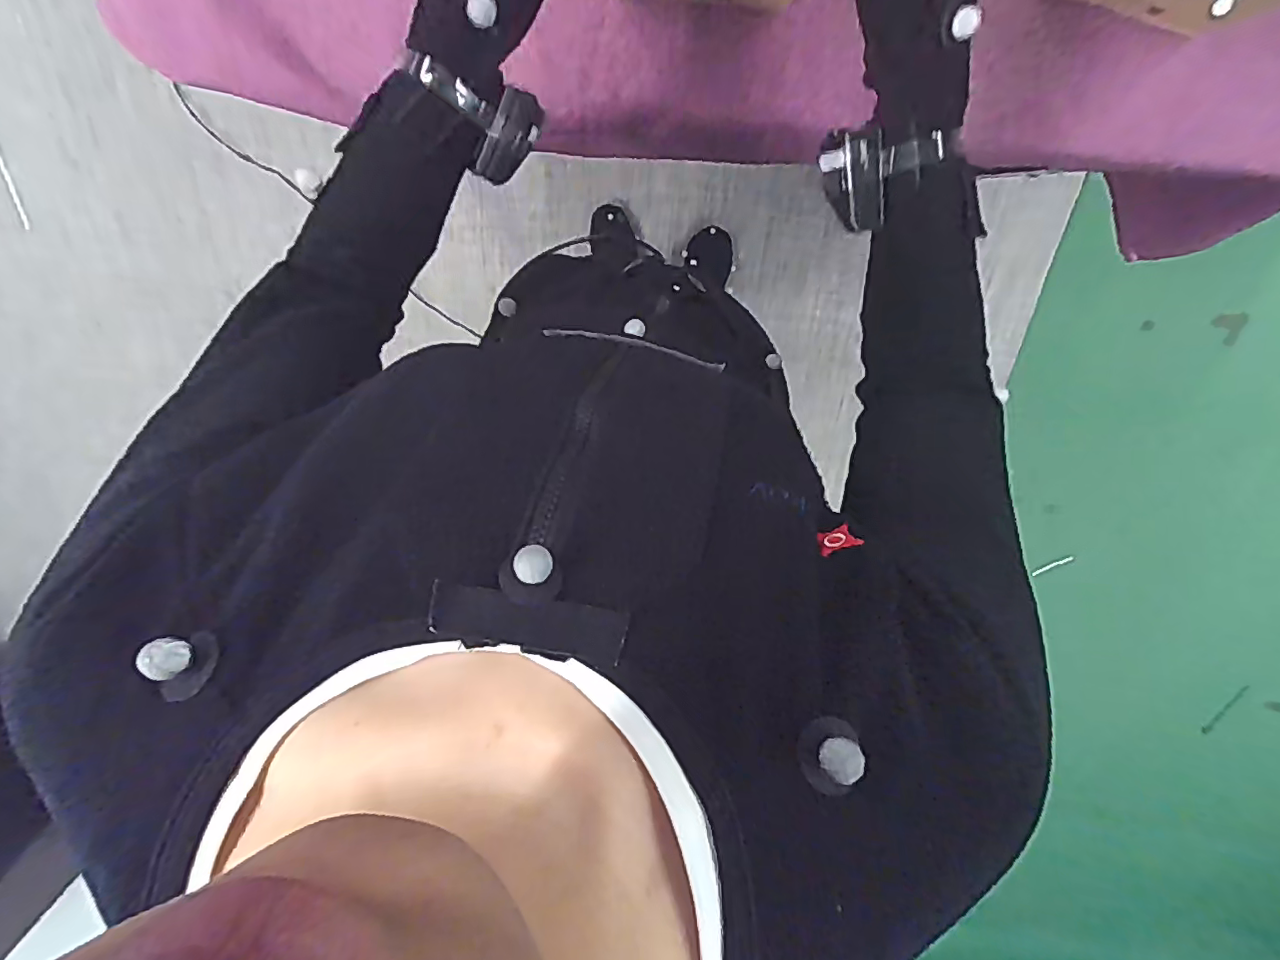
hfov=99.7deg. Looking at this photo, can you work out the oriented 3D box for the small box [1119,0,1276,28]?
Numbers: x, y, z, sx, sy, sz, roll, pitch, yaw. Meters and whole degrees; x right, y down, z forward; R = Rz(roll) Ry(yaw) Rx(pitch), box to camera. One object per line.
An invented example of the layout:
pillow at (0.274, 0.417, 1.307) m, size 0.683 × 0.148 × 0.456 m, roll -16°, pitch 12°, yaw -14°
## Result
small box at (0.448, -0.466, 0.384) m, size 0.168 × 0.176 × 0.179 m, roll 15°, pitch 117°, yaw -3°
